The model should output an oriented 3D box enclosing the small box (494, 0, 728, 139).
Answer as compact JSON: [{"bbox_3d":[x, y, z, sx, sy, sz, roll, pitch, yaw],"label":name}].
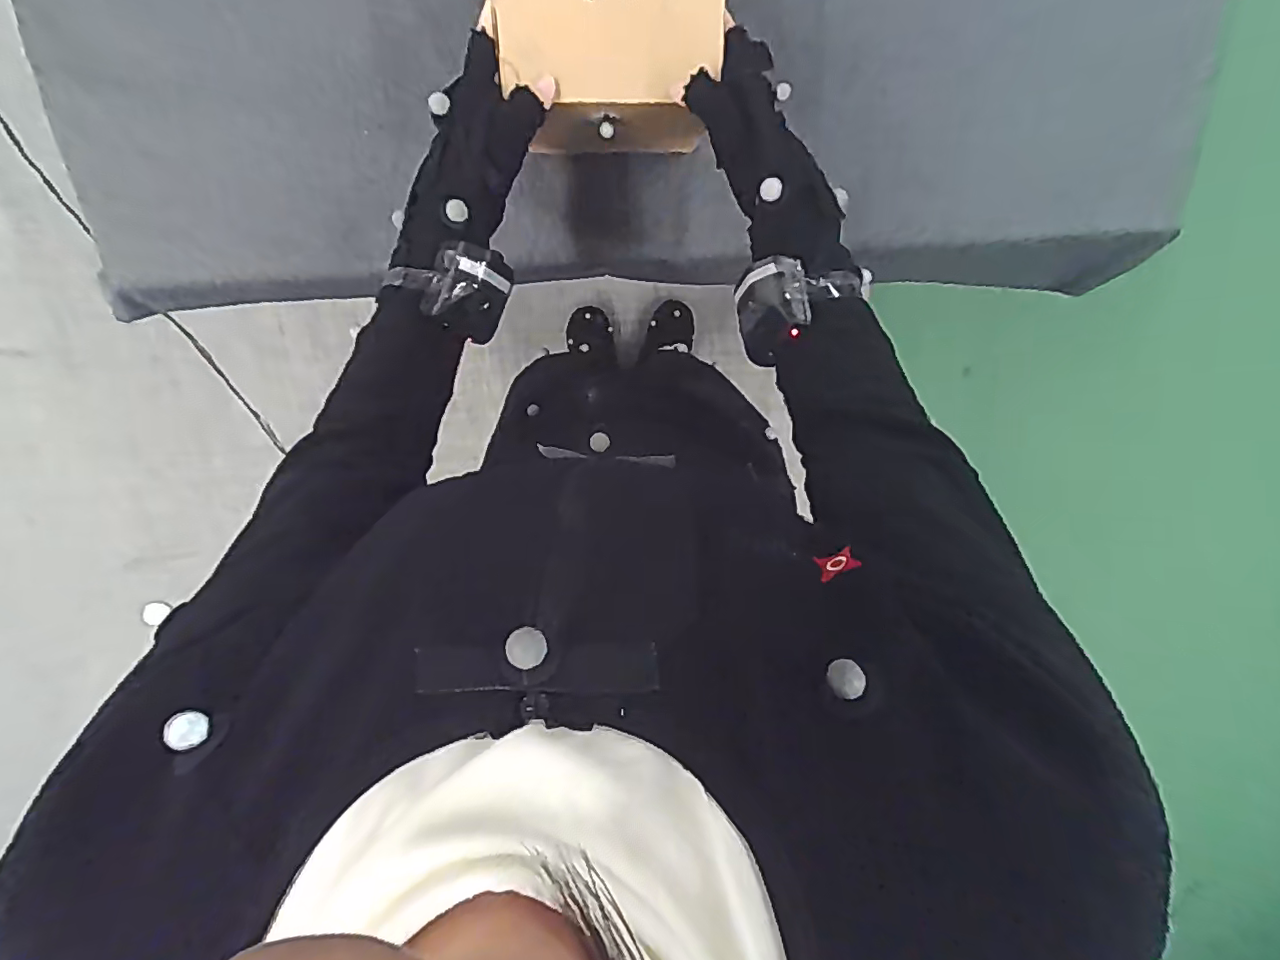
[{"bbox_3d":[-0.025,-0.408,0.465,0.179,0.176,0.168,-4,111,-2],"label":"small box"}]
